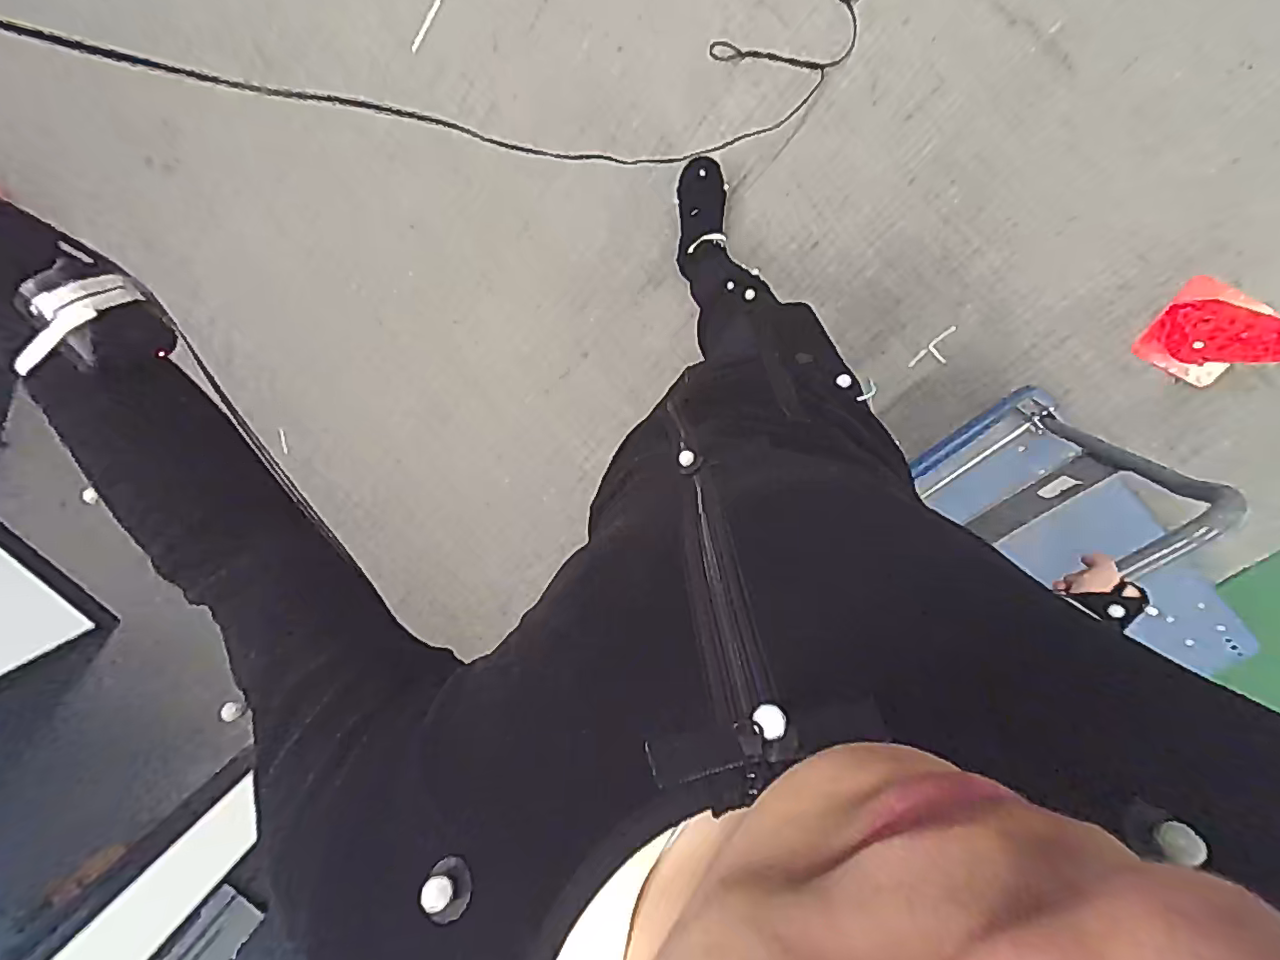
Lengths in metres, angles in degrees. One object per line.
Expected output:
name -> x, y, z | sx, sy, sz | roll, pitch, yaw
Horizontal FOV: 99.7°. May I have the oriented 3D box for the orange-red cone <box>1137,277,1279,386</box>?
orange-red cone -> 1.259, -0.282, 1.088 | 0.198, 0.360, 0.199 | 30, 112, 1
